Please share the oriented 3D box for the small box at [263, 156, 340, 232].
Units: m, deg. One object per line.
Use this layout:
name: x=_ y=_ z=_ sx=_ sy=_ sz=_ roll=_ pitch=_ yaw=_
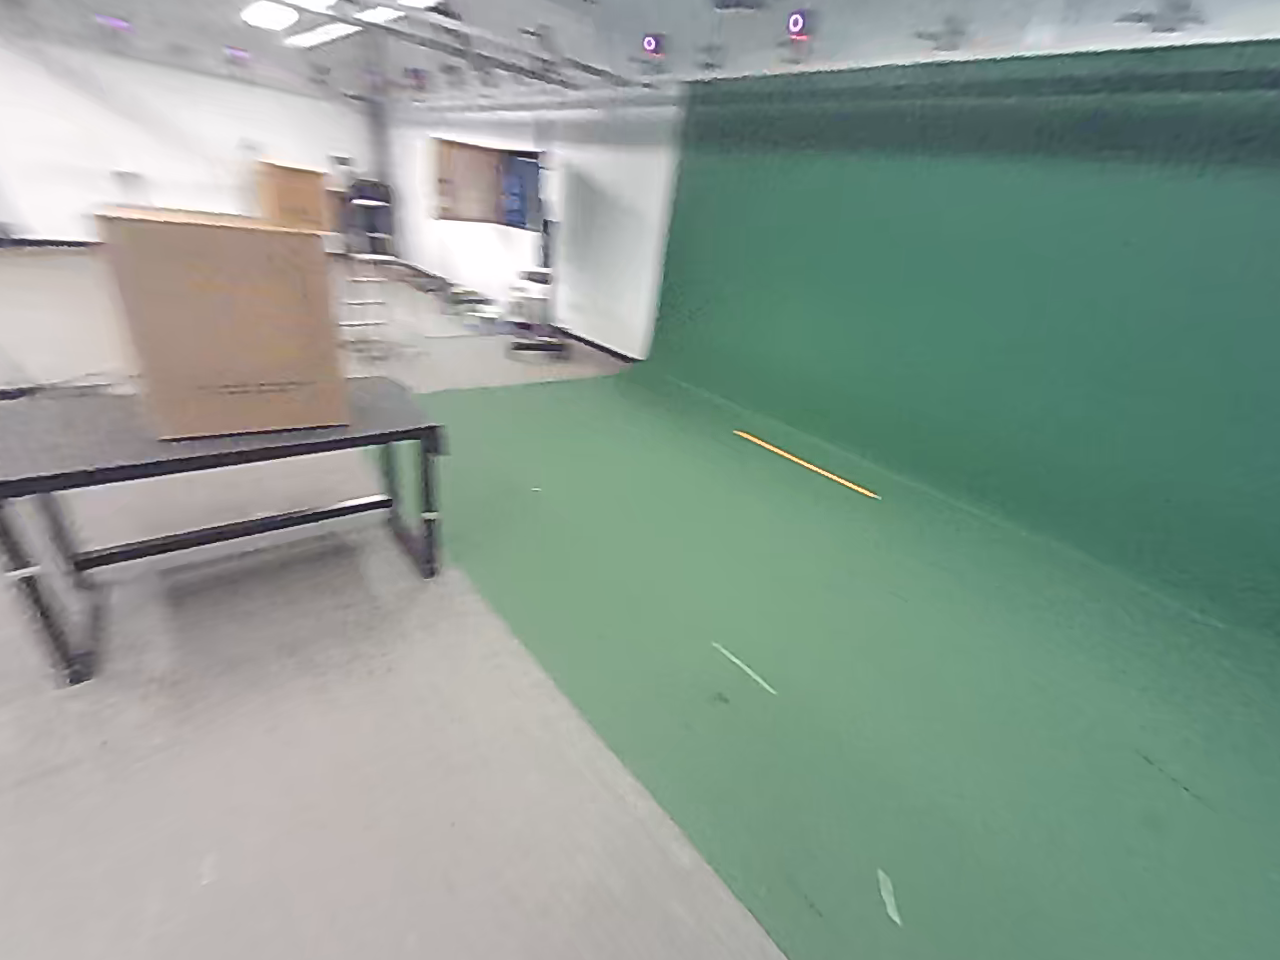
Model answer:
small box: x=-1.031 y=-0.869 z=1.650 sx=0.168 sy=0.176 sz=0.179 roll=-14 pitch=37 yaw=-41
